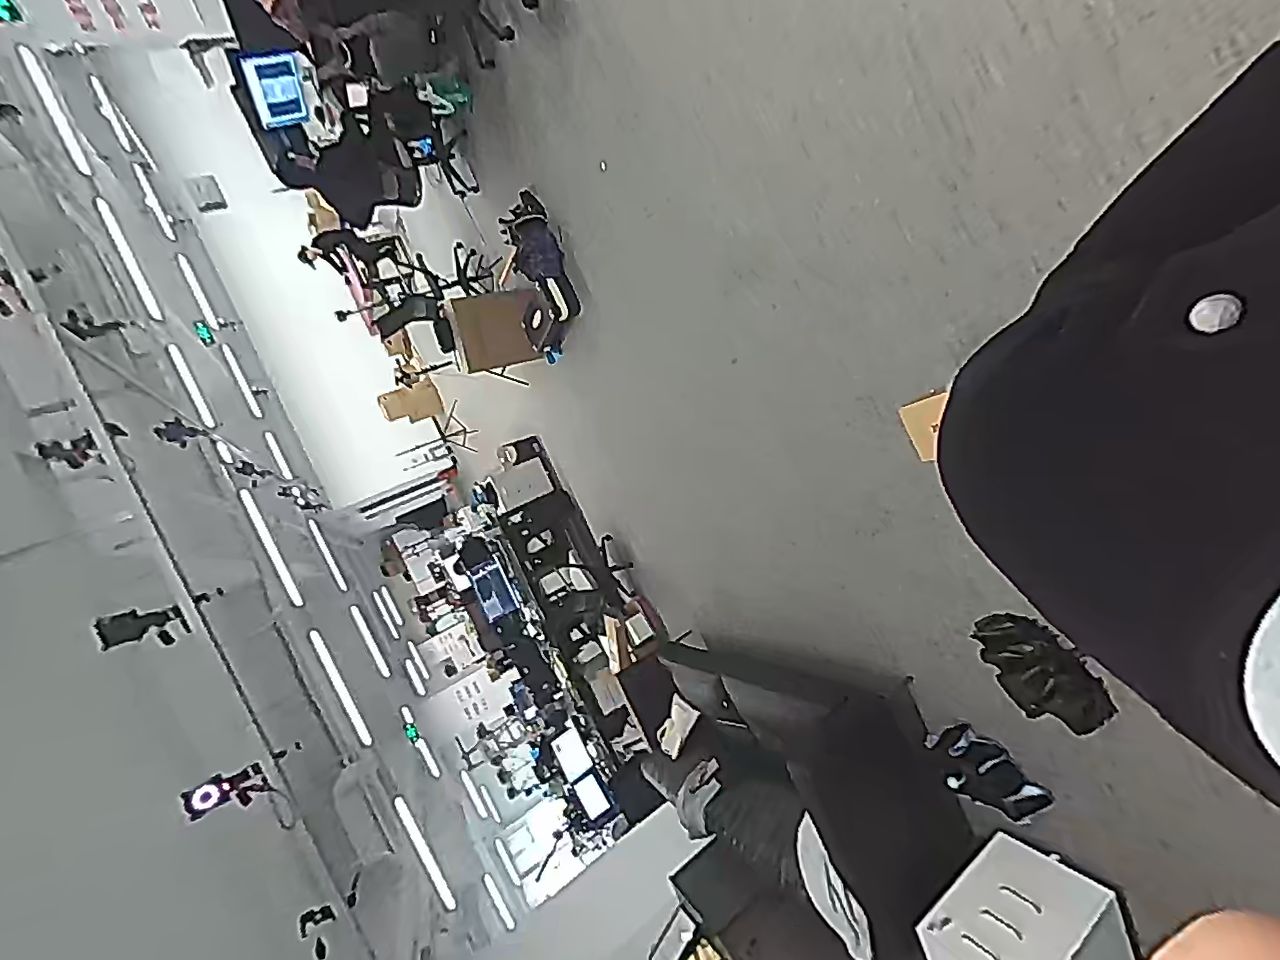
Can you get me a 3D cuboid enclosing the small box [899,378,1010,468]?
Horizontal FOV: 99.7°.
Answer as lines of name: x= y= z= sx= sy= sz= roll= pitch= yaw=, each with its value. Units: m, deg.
small box: x=0.848 y=-0.152 z=1.449 sx=0.168 sy=0.176 sz=0.179 roll=64 pitch=158 yaw=0
